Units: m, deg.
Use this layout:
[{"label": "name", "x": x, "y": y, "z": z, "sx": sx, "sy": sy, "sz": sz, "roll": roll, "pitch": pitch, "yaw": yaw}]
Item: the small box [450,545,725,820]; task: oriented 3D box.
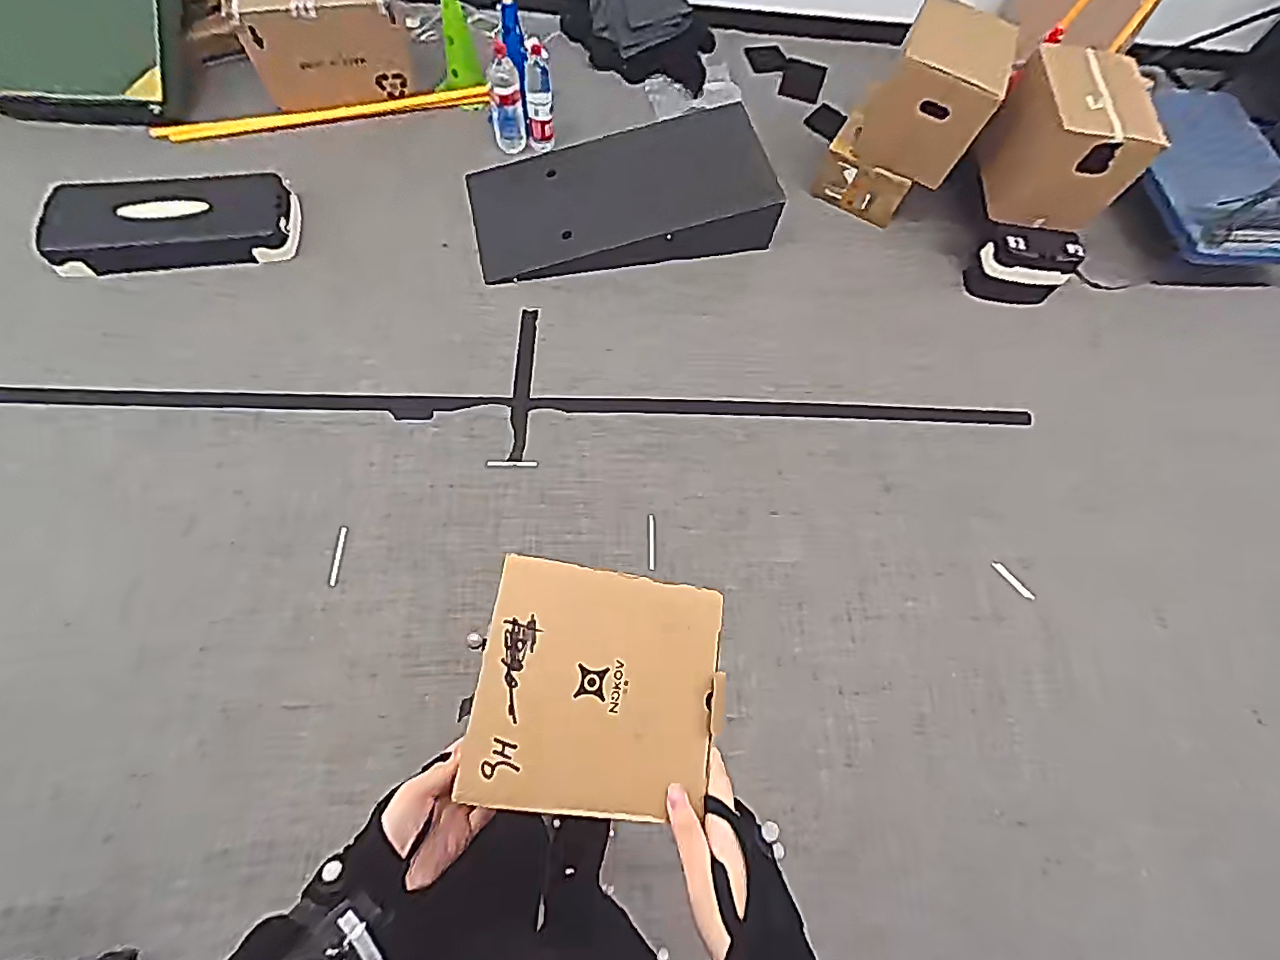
[{"label": "small box", "x": -0.048, "y": 0.165, "z": 0.458, "sx": 0.179, "sy": 0.176, "sz": 0.168, "roll": 13, "pitch": 69, "yaw": -12}]
